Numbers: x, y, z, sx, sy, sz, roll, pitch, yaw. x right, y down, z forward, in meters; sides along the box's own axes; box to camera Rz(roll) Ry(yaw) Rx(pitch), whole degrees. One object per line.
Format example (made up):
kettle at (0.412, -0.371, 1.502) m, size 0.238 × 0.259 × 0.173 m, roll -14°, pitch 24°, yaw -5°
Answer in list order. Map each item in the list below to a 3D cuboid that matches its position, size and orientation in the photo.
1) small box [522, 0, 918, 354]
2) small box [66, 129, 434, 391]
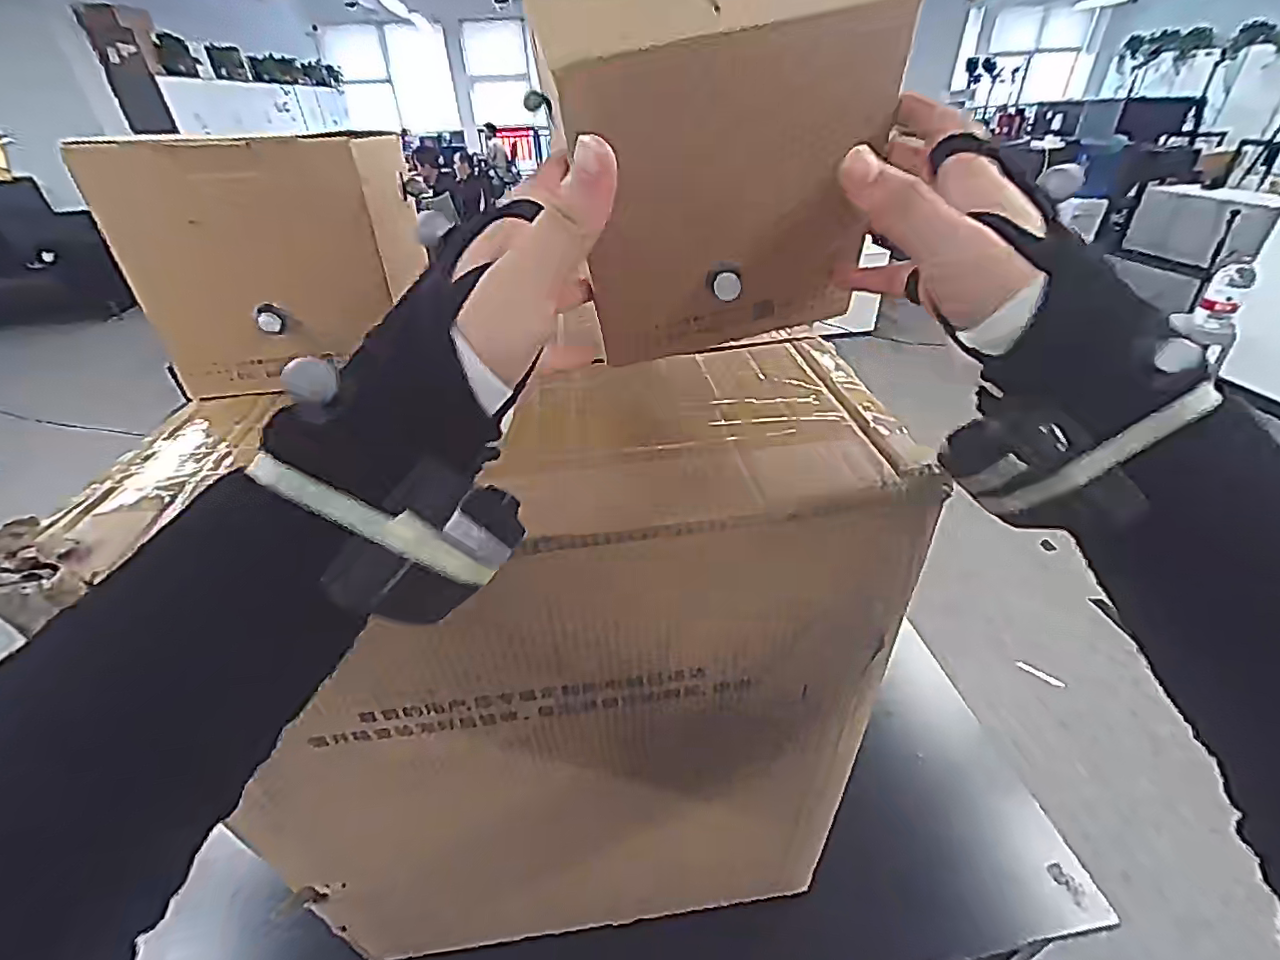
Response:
small box at (0.029, -0.208, 0.330) m, size 0.168 × 0.176 × 0.179 m, roll -14°, pitch 55°, yaw -2°
small box at (-0.280, -0.187, 0.447) m, size 0.168 × 0.176 × 0.179 m, roll -7°, pitch 34°, yaw -7°
